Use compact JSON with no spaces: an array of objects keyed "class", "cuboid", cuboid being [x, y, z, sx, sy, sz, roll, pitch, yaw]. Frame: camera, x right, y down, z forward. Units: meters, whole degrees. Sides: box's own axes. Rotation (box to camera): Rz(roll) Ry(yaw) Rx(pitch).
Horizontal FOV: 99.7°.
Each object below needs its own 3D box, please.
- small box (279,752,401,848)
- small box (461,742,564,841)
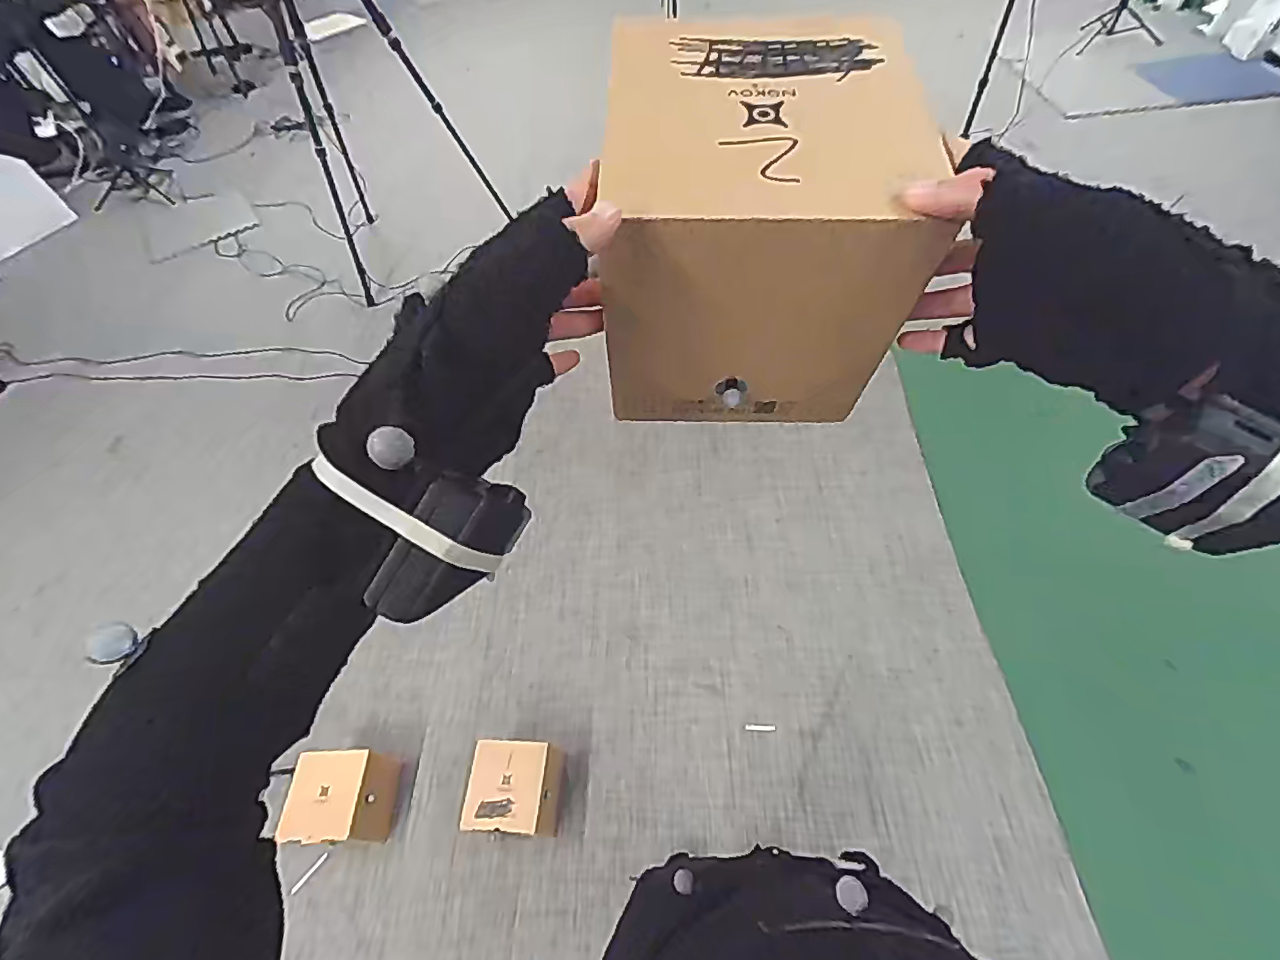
[{"class":"small box","cuboid":[-0.678,0.741,1.250,0.168,0.176,0.179,-5,54,4]},{"class":"small box","cuboid":[-0.277,0.708,1.224,0.168,0.176,0.179,0,54,7]}]
